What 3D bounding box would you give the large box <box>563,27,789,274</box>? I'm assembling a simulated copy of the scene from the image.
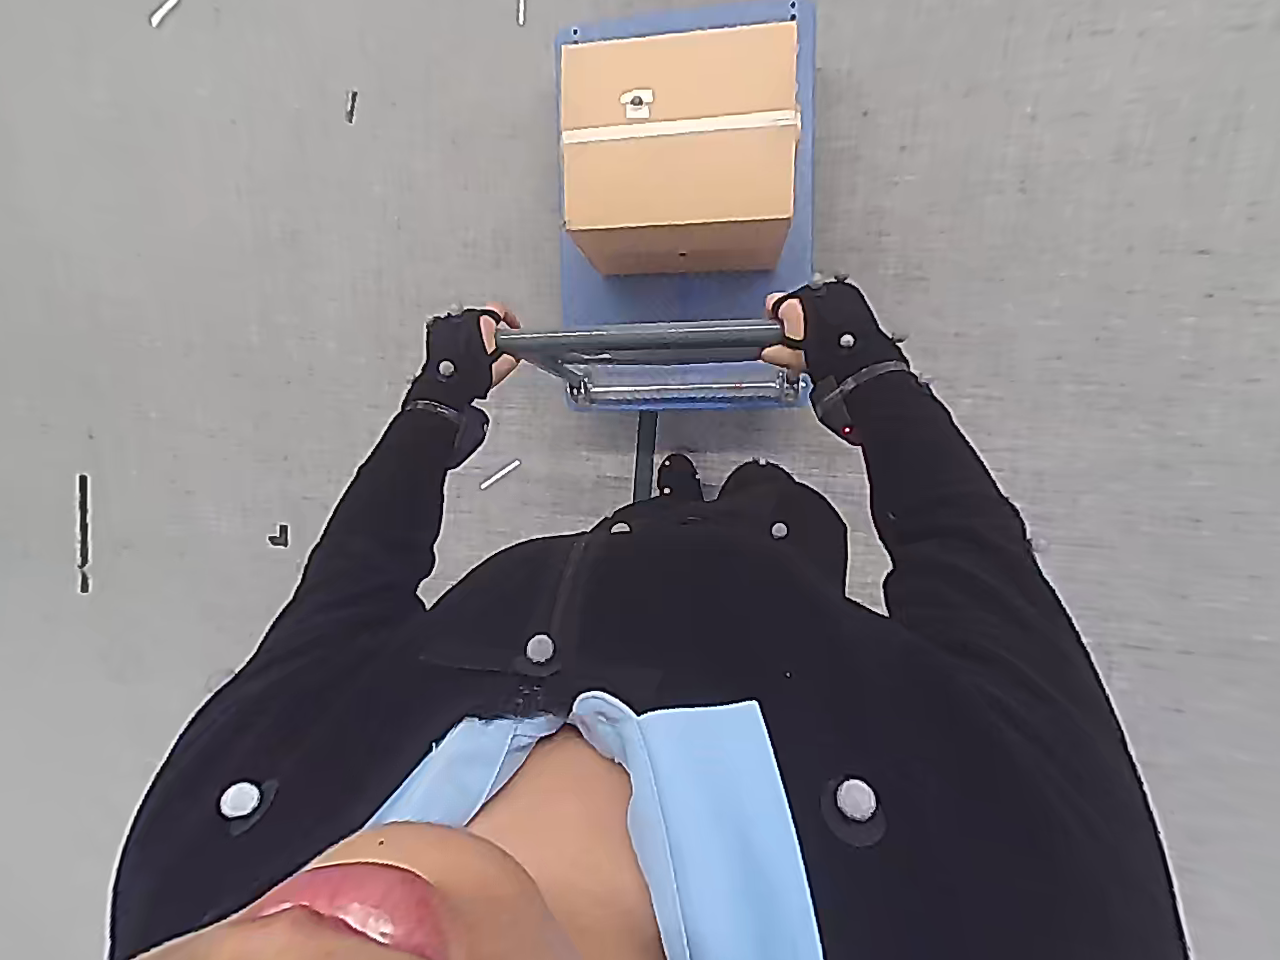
[{"bbox_3d":[0.085,-0.626,1.102,0.408,0.320,0.320,1,95,9],"label":"large box"}]
